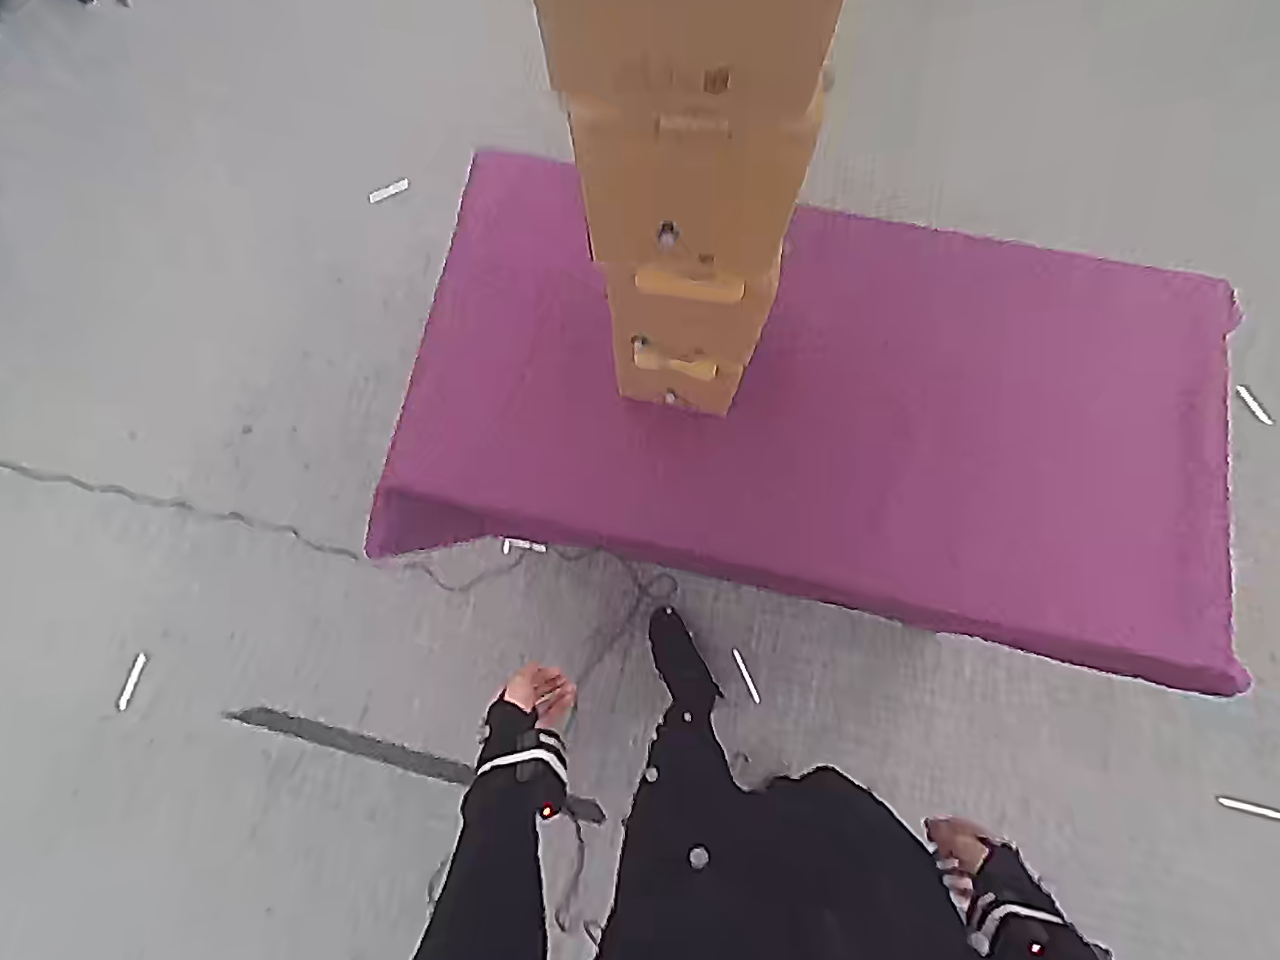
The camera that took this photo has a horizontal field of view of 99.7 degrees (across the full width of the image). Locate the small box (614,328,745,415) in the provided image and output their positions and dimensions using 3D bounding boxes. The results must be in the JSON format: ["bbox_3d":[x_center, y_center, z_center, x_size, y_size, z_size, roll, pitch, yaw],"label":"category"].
[{"bbox_3d":[0.066,-0.213,0.759,0.168,0.176,0.179,12,78,4],"label":"small box"}]

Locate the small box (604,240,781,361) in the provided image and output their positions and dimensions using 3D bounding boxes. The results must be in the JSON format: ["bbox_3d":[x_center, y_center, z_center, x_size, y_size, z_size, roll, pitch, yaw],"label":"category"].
[{"bbox_3d":[0.061,-0.252,0.600,0.168,0.176,0.179,9,76,3],"label":"small box"}]

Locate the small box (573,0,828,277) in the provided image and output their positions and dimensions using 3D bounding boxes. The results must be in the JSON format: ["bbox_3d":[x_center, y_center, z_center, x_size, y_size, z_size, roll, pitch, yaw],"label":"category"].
[{"bbox_3d":[0.045,-0.295,0.443,0.168,0.176,0.179,4,77,2],"label":"small box"}]
